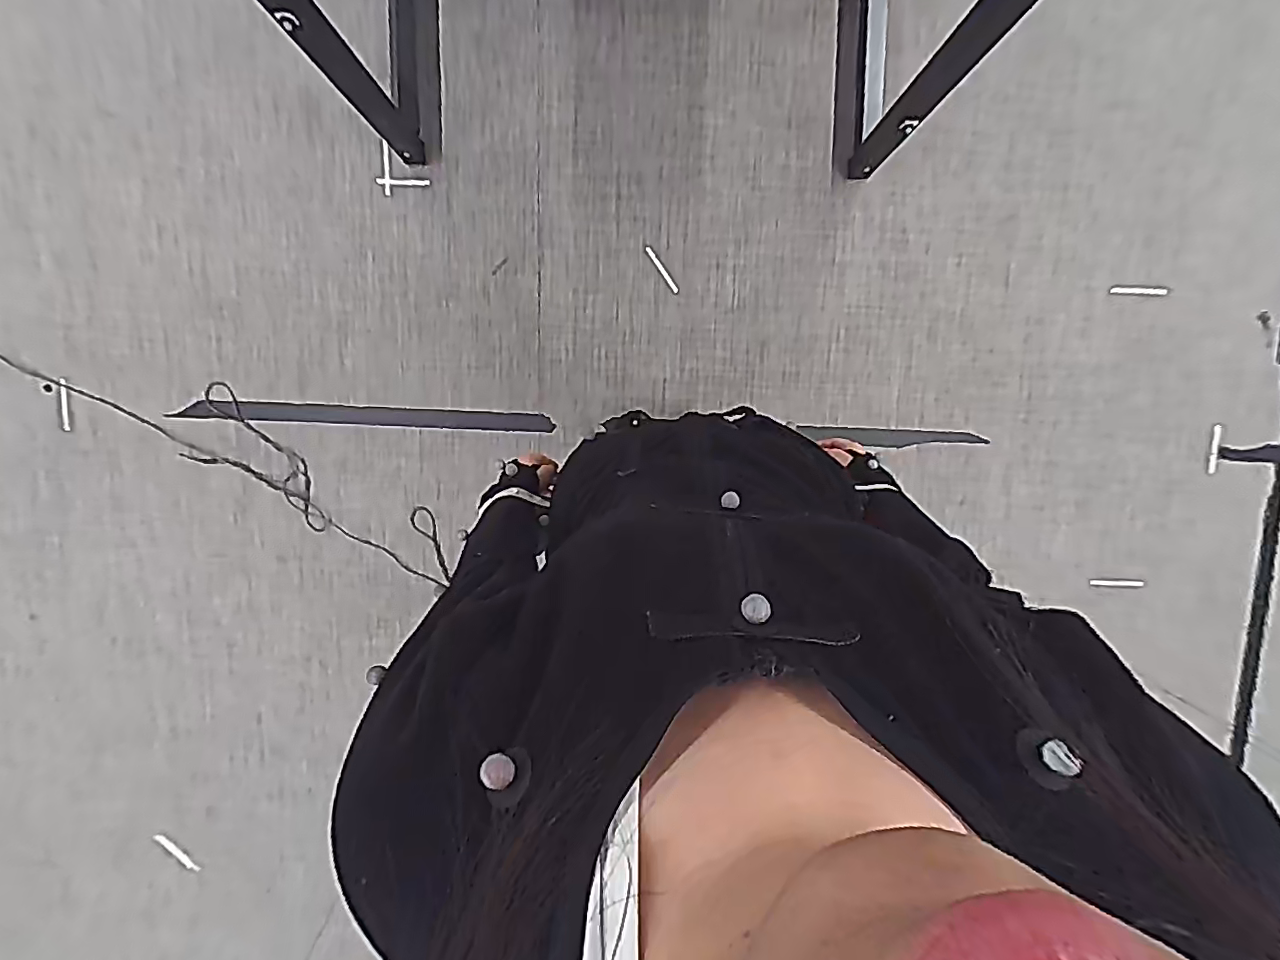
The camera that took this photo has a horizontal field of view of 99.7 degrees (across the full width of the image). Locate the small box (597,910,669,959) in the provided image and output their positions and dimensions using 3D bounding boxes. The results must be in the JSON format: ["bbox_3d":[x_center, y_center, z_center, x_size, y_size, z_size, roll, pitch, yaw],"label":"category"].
[{"bbox_3d":[-0.011,1.252,1.369,0.168,0.176,0.179,-12,97,-1],"label":"small box"}]

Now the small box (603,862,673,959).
[{"bbox_3d":[-0.008,1.226,1.532,0.168,0.176,0.179,-12,96,0],"label":"small box"}]
